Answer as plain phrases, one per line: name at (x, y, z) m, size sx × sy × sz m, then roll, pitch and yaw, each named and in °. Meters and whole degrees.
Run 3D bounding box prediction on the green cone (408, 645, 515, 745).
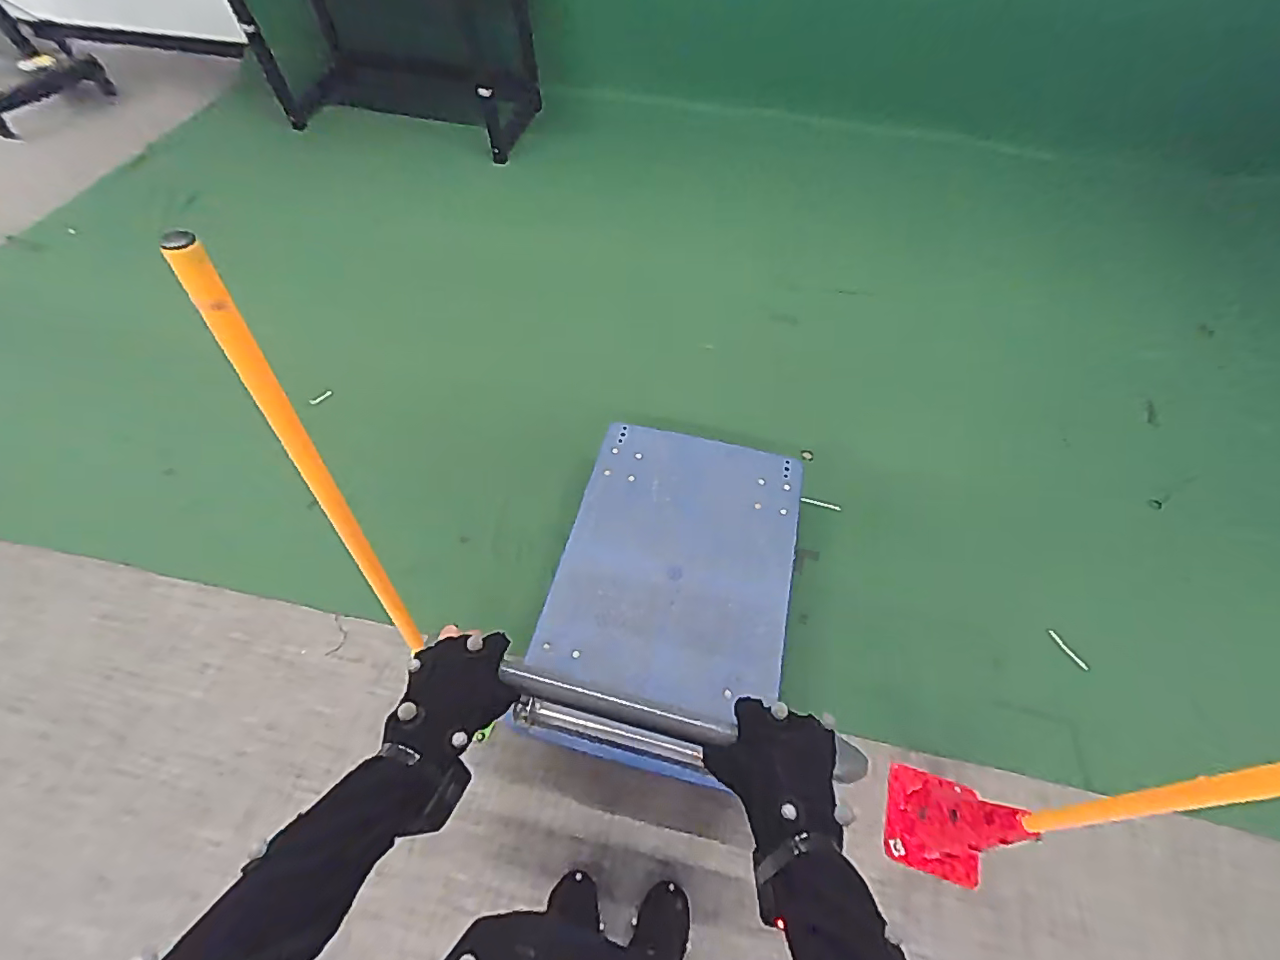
green cone at (-0.438, 0.444, 1.224) m, size 0.202 × 0.368 × 0.200 m, roll 15°, pitch 57°, yaw 10°
